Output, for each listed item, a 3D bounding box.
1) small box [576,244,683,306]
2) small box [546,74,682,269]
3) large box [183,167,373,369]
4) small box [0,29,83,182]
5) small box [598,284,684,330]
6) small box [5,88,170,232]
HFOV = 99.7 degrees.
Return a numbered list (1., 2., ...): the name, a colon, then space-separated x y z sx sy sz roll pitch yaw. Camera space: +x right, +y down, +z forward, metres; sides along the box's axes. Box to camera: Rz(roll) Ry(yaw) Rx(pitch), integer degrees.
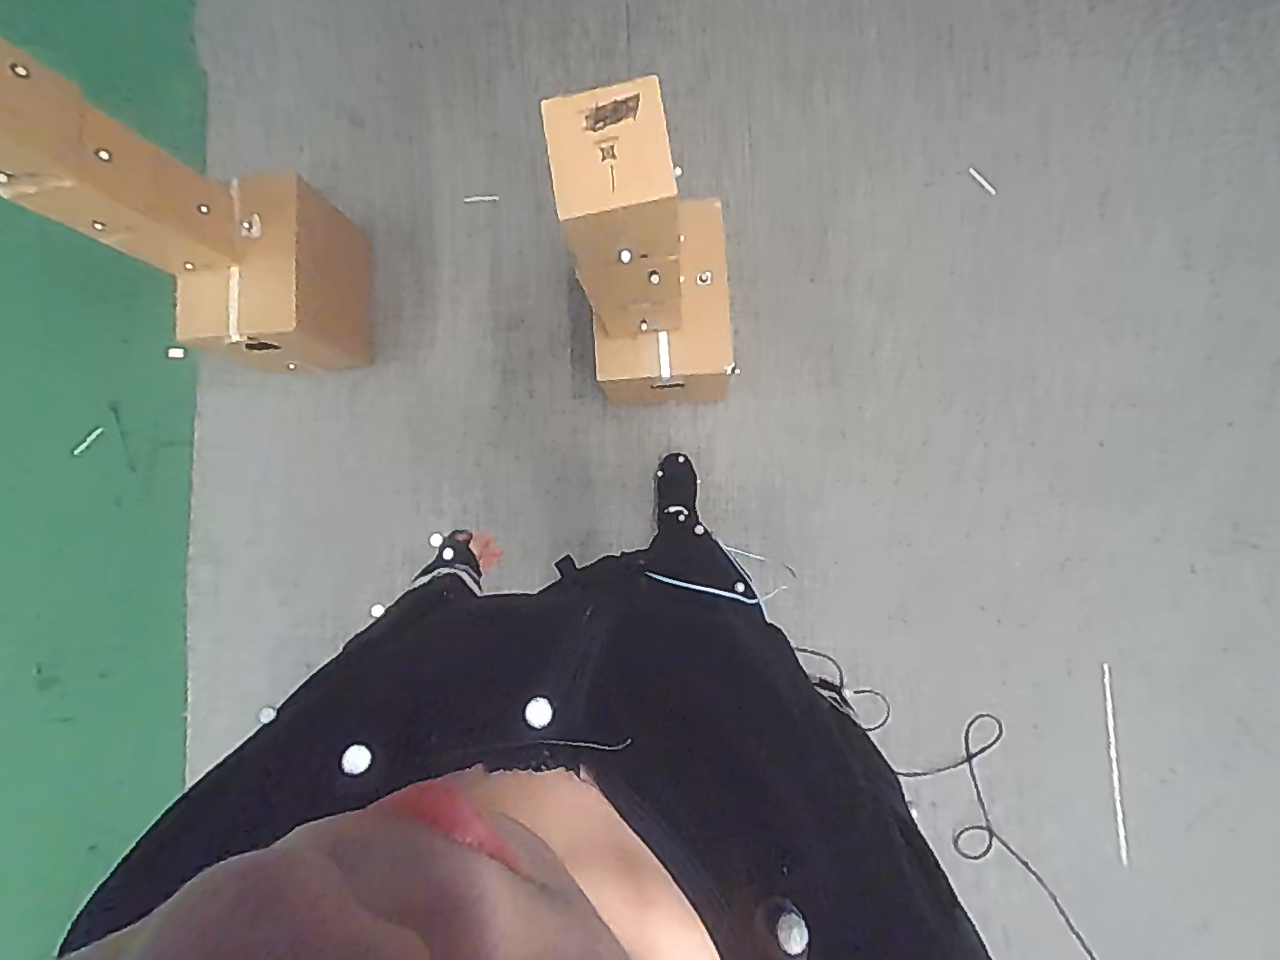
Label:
1. small box: -0.017 -0.431 0.971 0.179 0.176 0.168 -6 85 6
2. small box: -0.031 -0.446 0.808 0.168 0.176 0.179 -9 87 6
3. large box: -0.956 -0.545 1.463 0.320 0.320 0.408 -3 85 5
4. small box: -1.097 -0.638 0.907 0.168 0.176 0.179 -1 88 8
5. small box: 0.001 -0.425 1.136 0.168 0.176 0.179 -6 87 6
6. small box: -1.080 -0.622 1.069 0.168 0.176 0.179 -3 87 8
